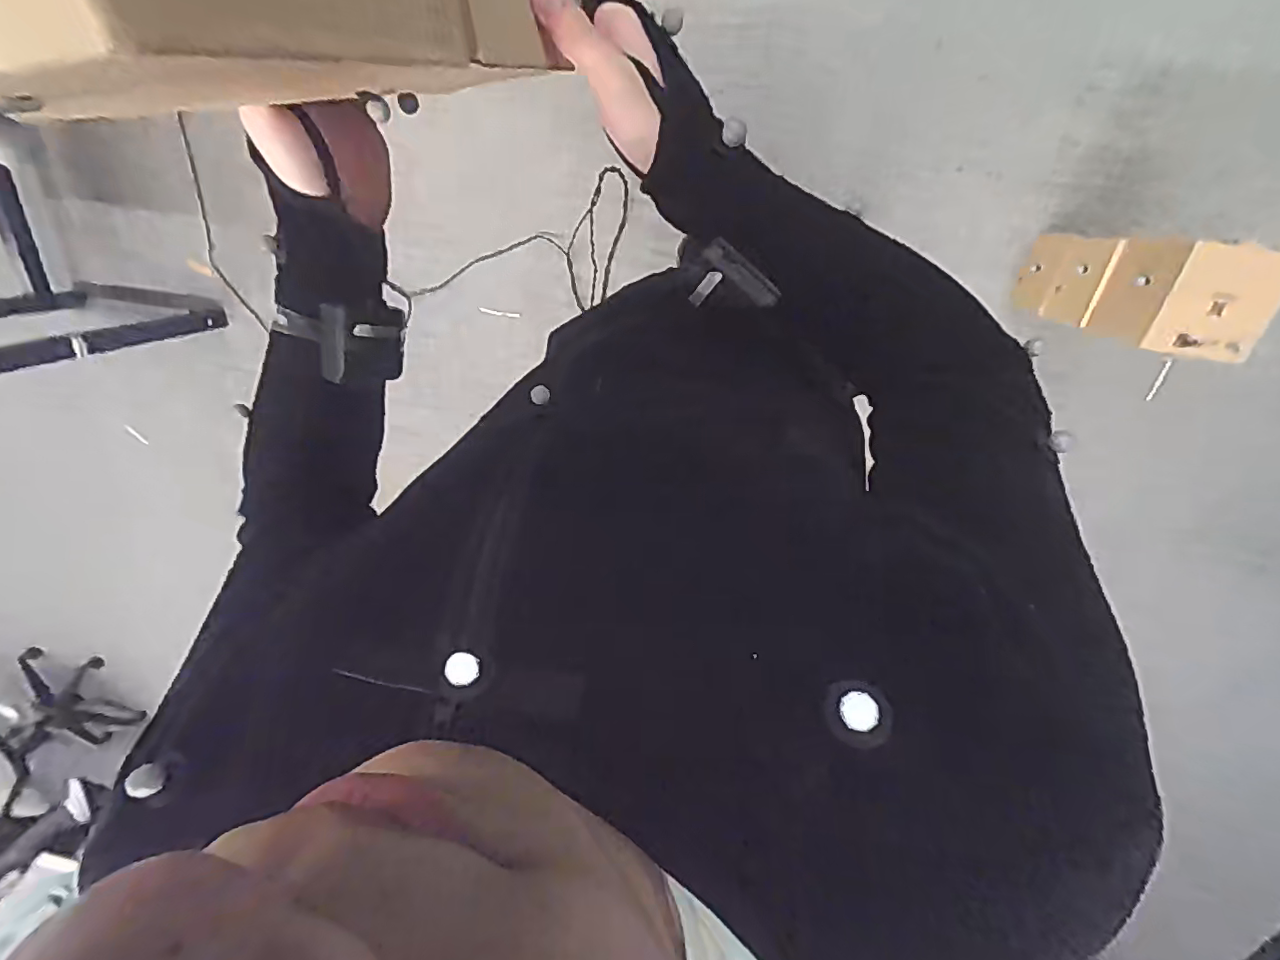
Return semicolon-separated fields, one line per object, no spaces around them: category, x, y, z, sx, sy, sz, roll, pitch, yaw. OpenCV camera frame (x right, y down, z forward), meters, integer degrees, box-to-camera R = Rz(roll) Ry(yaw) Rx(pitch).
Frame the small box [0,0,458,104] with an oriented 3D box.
small box;-0.177;-0.199;0.135;0.179;0.176;0.168;1;126;10

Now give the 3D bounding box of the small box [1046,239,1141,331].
small box;0.972;-0.383;1.086;0.179;0.176;0.168;11;116;6

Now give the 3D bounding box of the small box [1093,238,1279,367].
small box;0.948;-0.313;0.939;0.168;0.176;0.179;12;115;6

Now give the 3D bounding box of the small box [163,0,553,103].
small box;-0.152;-0.295;0.264;0.179;0.176;0.168;1;125;11

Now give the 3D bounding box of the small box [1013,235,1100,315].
small box;1.000;-0.452;1.230;0.179;0.176;0.168;13;117;5
